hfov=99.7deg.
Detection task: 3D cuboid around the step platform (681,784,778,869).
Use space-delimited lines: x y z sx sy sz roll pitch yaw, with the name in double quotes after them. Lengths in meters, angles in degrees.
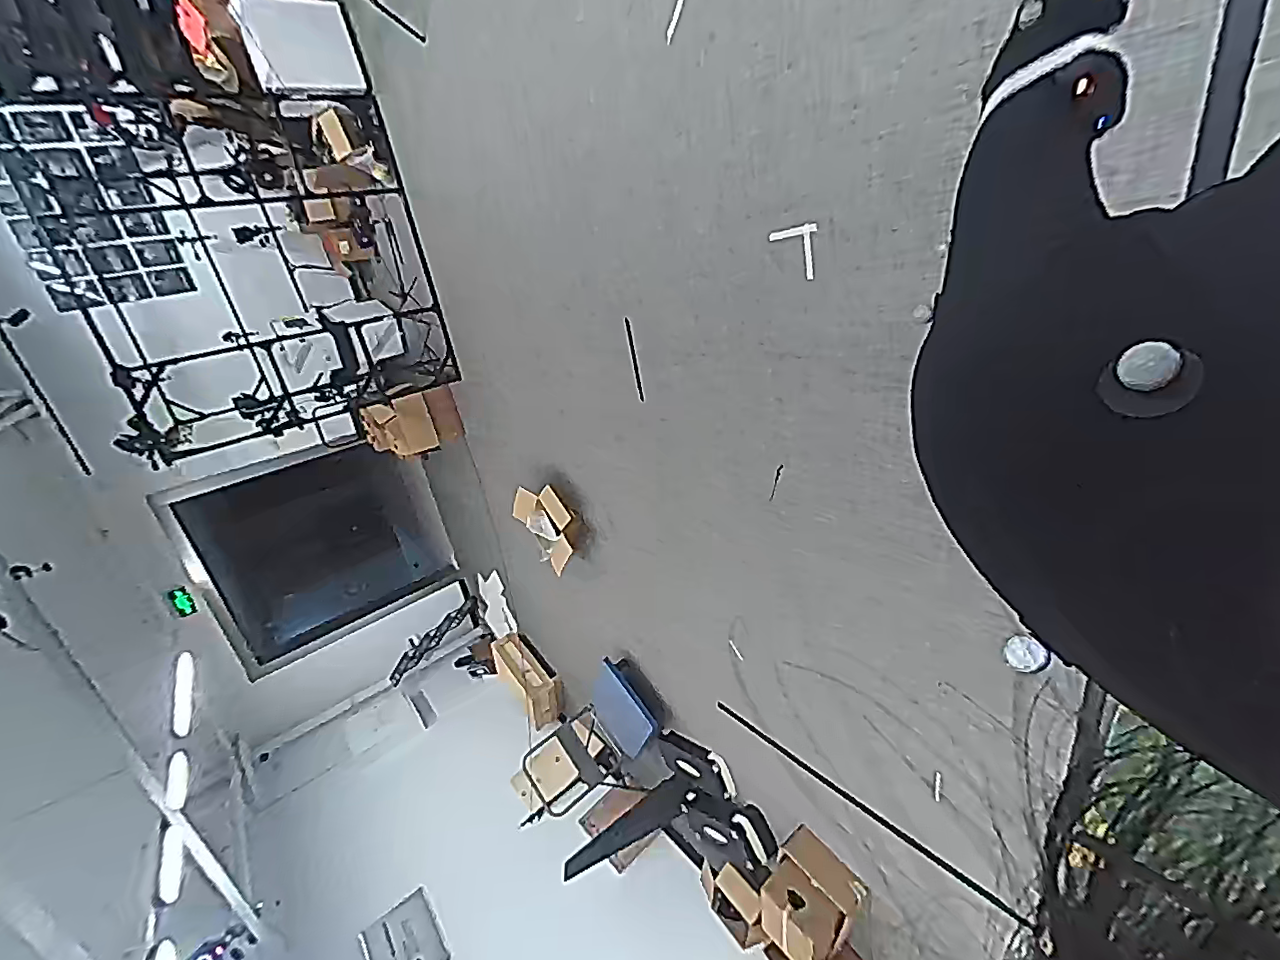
0.541 2.179 3.422 0.684 0.204 0.286 -29 87 57 "step platform"
